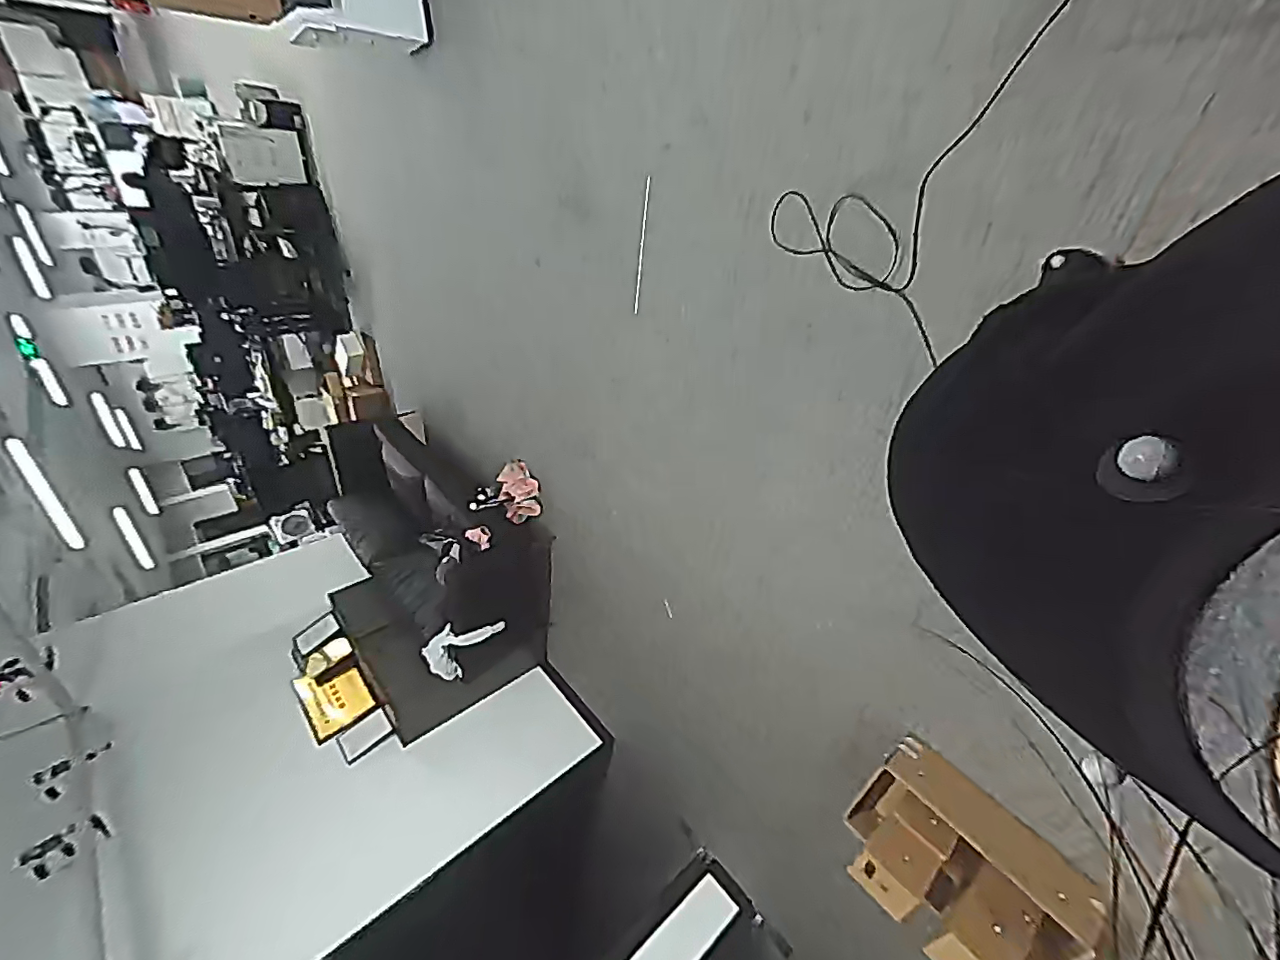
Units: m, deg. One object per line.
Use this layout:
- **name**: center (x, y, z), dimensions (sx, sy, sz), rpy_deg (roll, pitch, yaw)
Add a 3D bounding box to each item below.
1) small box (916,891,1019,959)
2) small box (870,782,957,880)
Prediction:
- **small box**: center (0.928, 1.322, 1.529), dimensions (0.168, 0.176, 0.179), rpy_deg (39, 134, 33)
- **small box**: center (0.892, 1.134, 1.758), dimensions (0.179, 0.176, 0.168), rpy_deg (35, 130, 34)
